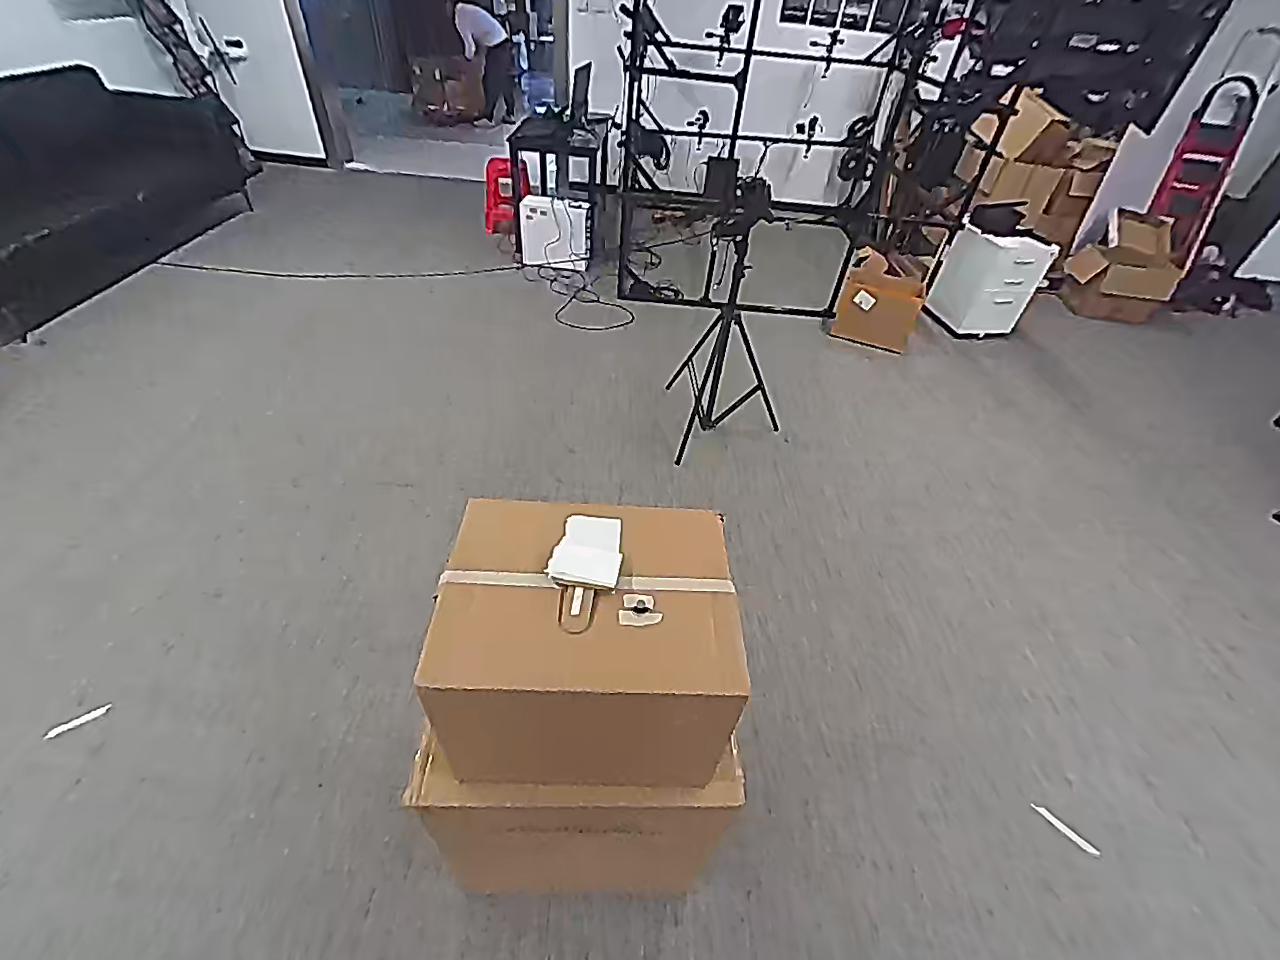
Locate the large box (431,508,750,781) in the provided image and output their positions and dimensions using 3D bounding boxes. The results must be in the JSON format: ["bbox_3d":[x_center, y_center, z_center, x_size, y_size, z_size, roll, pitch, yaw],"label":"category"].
[{"bbox_3d":[-0.076,0.265,0.874,0.408,0.320,0.320,3,42,-4],"label":"large box"}]
